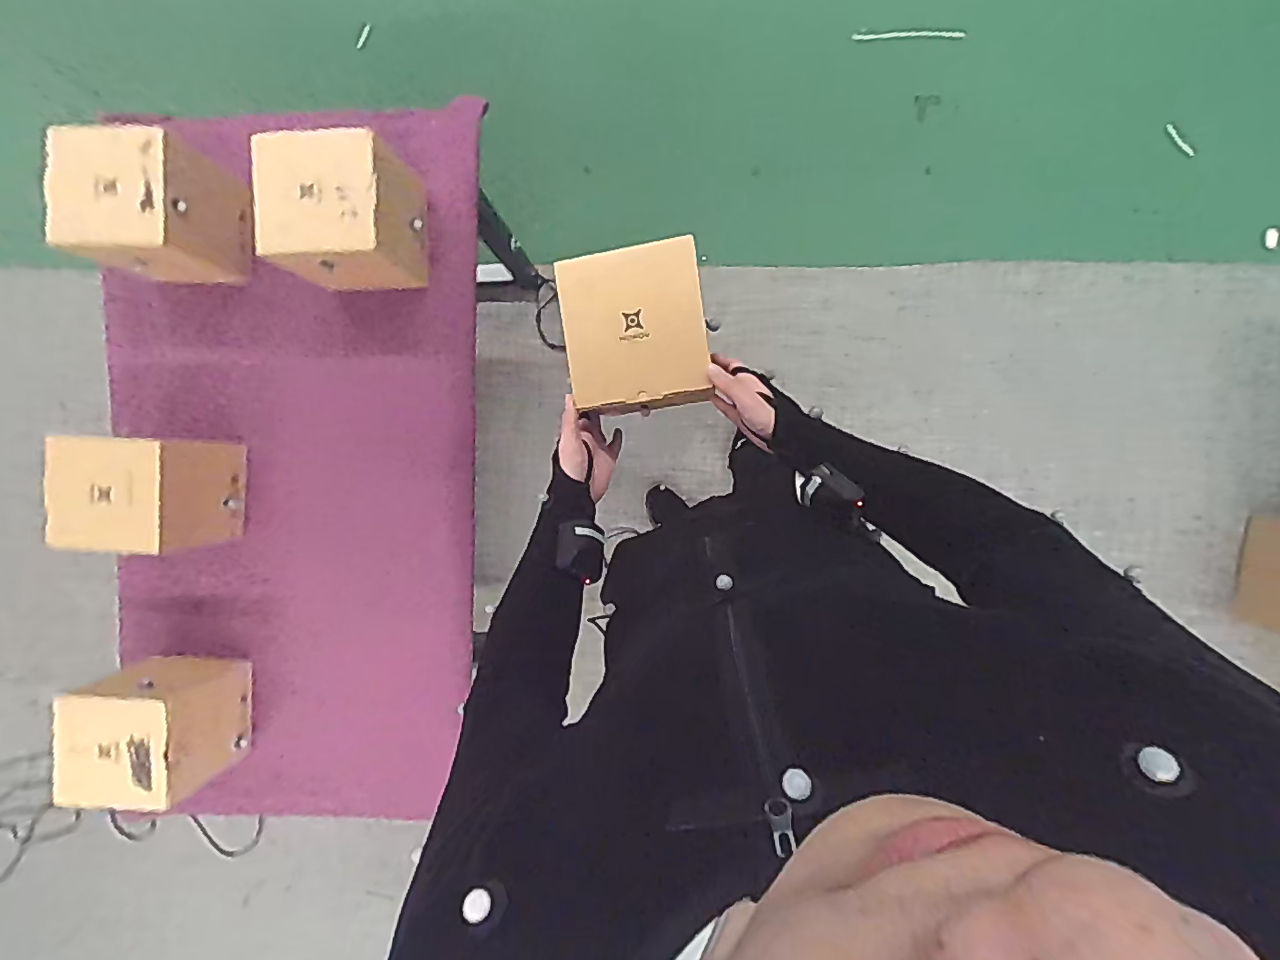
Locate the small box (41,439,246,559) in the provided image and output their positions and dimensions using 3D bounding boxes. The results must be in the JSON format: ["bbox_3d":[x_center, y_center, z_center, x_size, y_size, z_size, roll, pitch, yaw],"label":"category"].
[{"bbox_3d":[-0.773,0.024,0.856,0.179,0.176,0.168,3,94,1],"label":"small box"}]

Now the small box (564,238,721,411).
[{"bbox_3d":[0.009,-0.187,0.701,0.168,0.176,0.179,-8,97,7],"label":"small box"}]

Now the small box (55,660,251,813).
[{"bbox_3d":[-0.766,0.401,0.871,0.179,0.176,0.168,1,92,1],"label":"small box"}]

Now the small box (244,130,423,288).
[{"bbox_3d":[-0.450,-0.396,0.818,0.179,0.176,0.168,0,94,2],"label":"small box"}]

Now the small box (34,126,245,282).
[{"bbox_3d":[-0.755,-0.411,0.831,0.179,0.176,0.168,2,94,2],"label":"small box"}]
